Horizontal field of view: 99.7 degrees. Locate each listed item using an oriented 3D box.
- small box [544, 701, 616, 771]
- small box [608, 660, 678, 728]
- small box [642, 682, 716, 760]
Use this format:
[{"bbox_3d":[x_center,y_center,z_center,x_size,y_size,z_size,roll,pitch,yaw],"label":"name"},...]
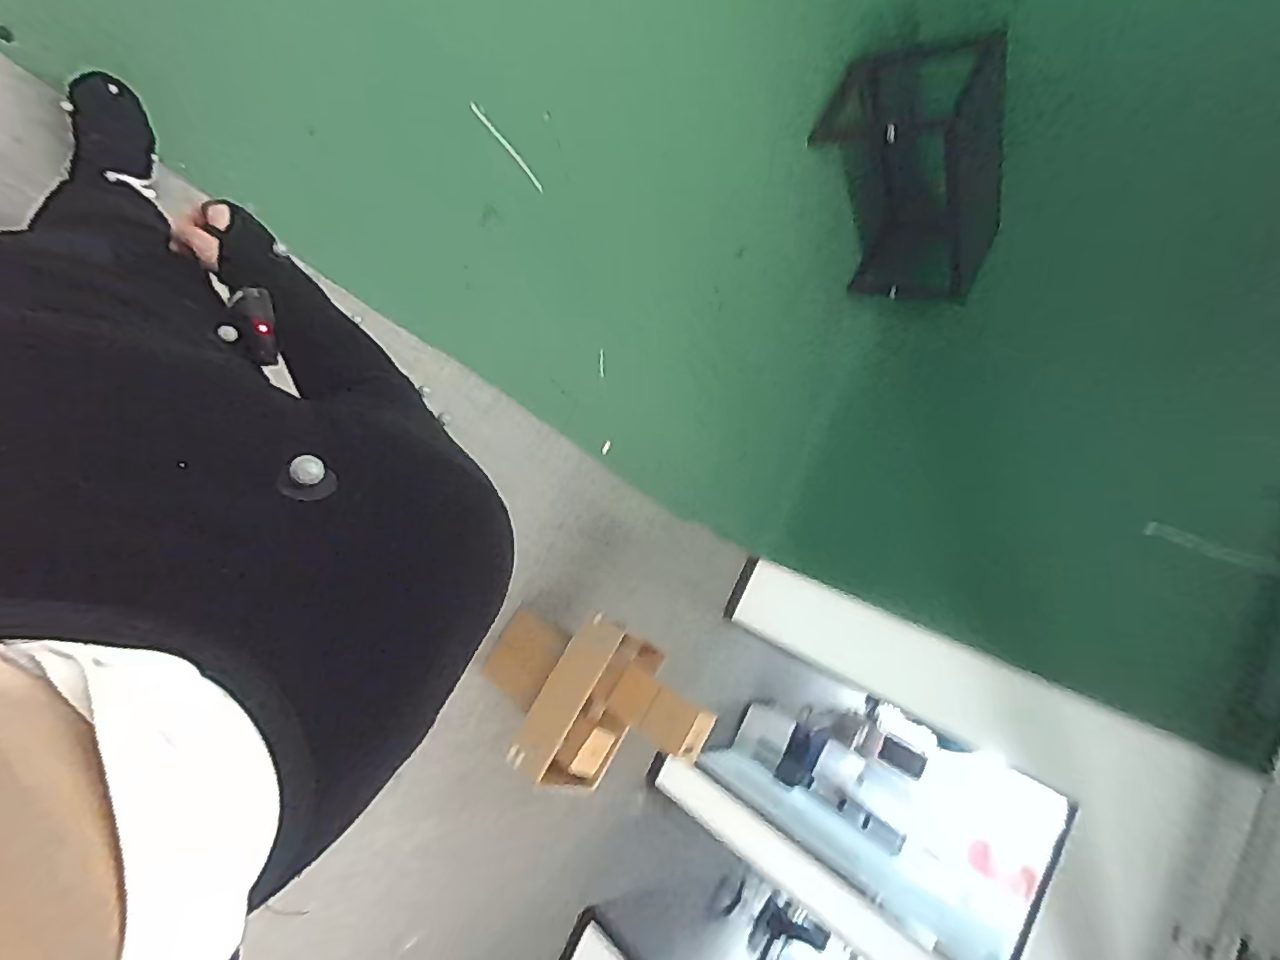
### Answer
[{"bbox_3d":[-0.231,0.967,2.050,0.168,0.176,0.179,-54,139,-14],"label":"small box"},{"bbox_3d":[0.012,0.790,1.986,0.179,0.176,0.168,-56,140,-11],"label":"small box"},{"bbox_3d":[0.128,0.838,1.880,0.179,0.176,0.168,-59,141,-11],"label":"small box"}]
